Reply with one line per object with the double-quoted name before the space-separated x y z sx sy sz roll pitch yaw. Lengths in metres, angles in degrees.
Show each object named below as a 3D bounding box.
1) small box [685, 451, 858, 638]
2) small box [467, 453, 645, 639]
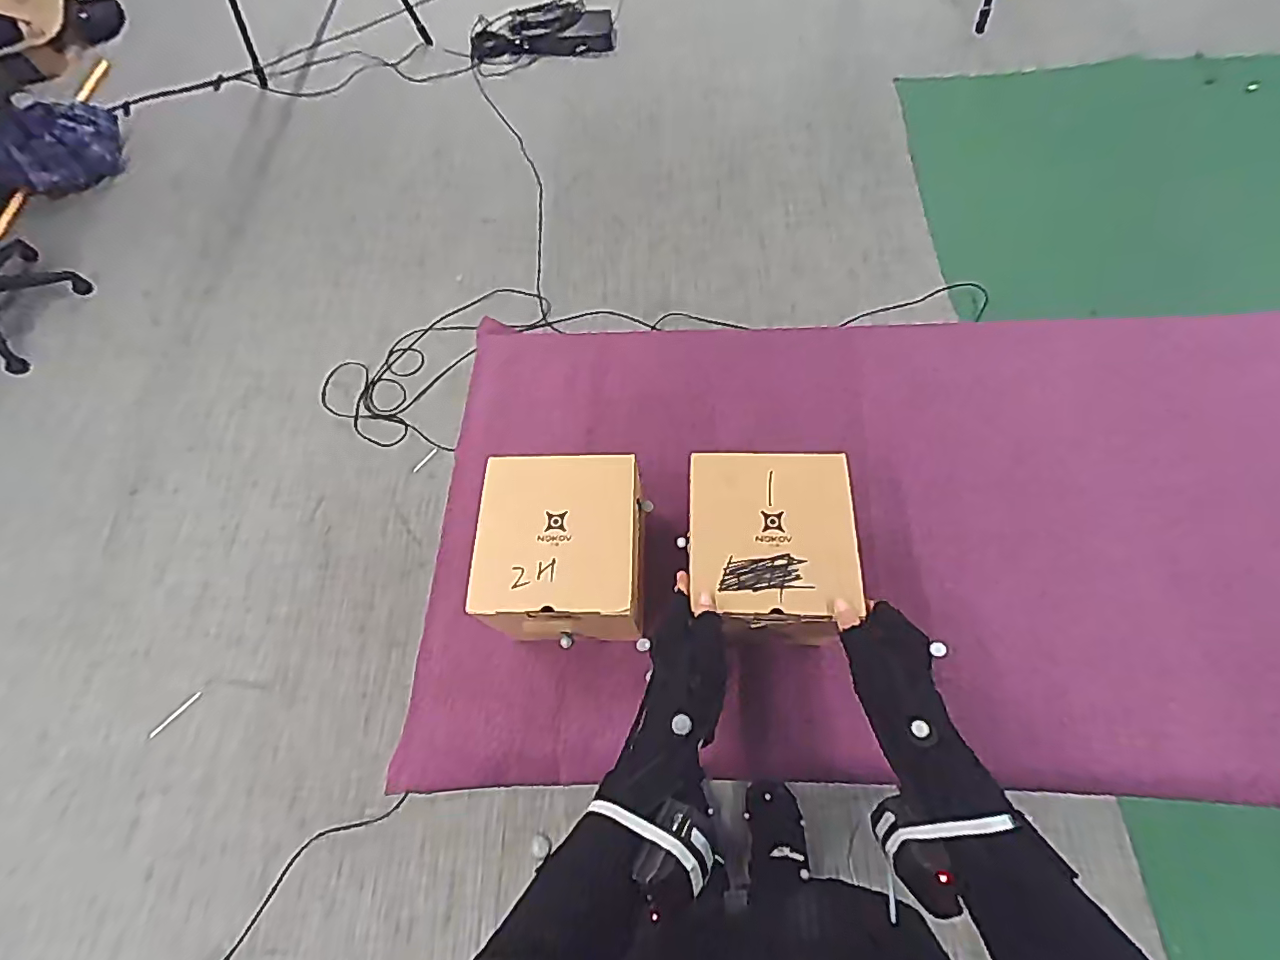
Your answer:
"small box" 0.137 0.081 0.622 0.168 0.176 0.179 1 65 5
"small box" -0.083 0.083 0.639 0.168 0.176 0.179 -1 65 5
